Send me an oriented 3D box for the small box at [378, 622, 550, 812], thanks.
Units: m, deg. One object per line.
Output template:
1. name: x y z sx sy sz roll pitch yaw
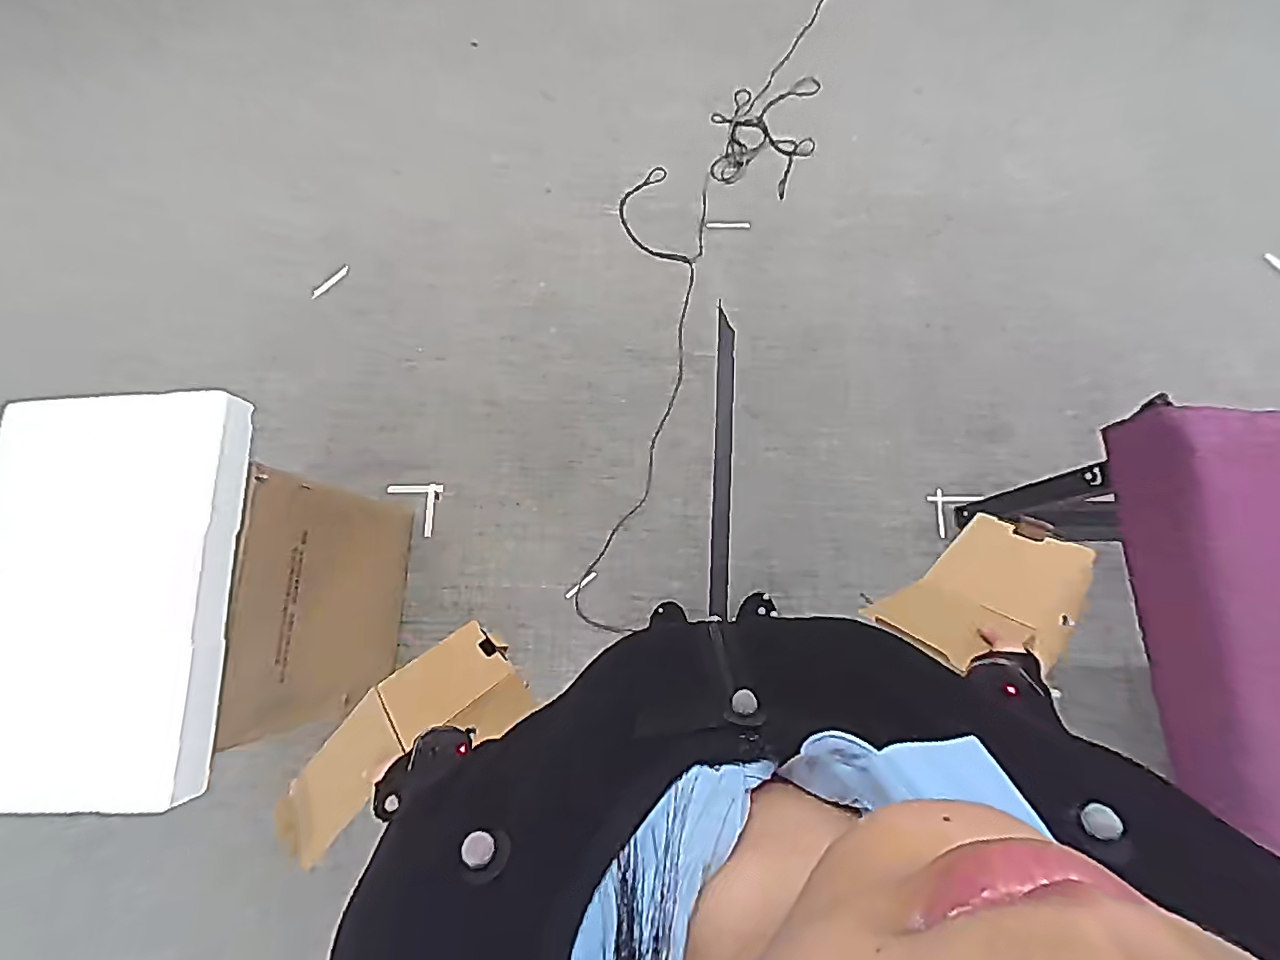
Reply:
1. small box: -0.270 0.366 0.845 0.179 0.176 0.168 -32 32 -26
